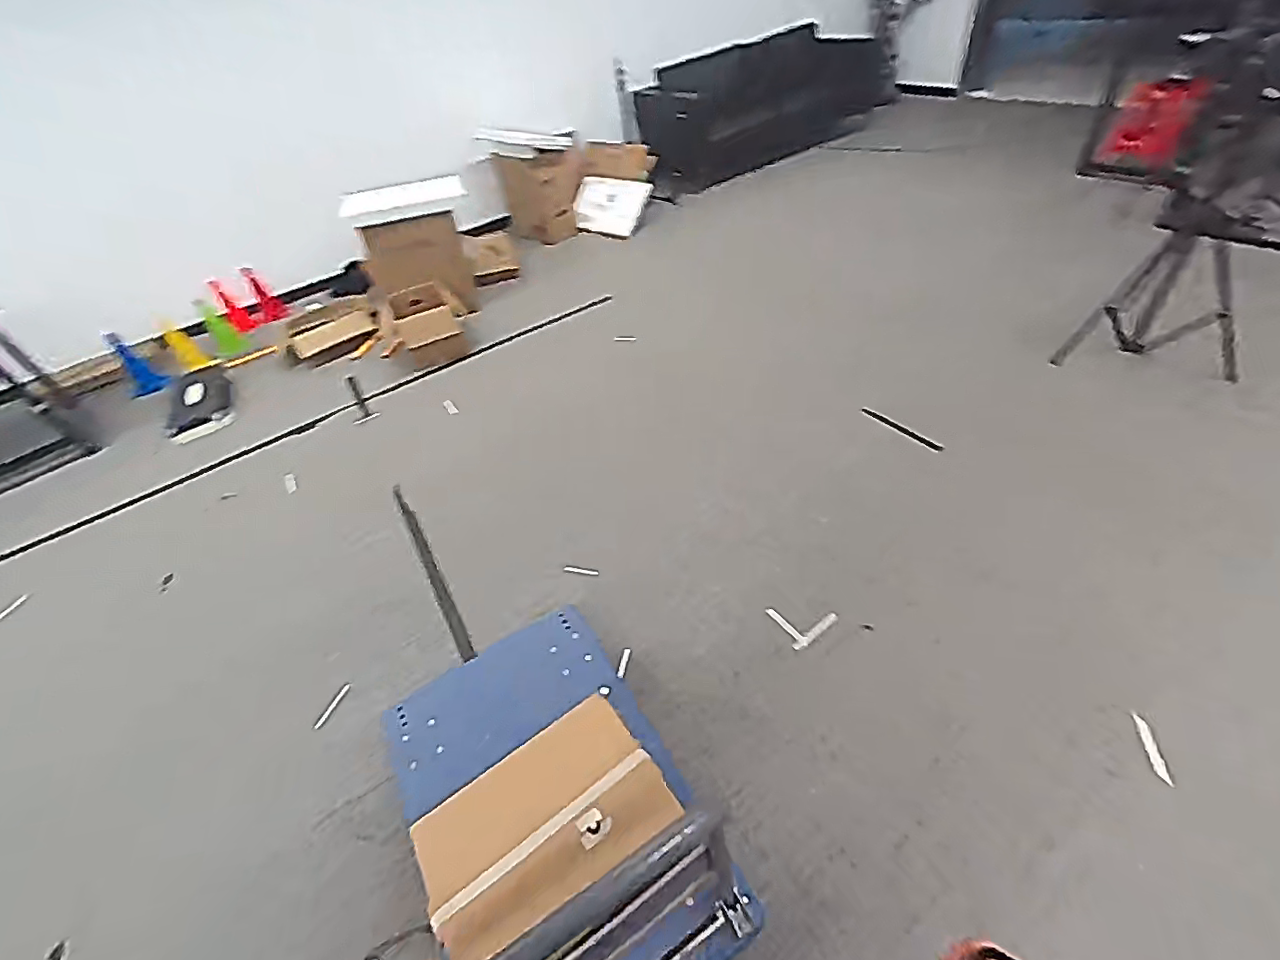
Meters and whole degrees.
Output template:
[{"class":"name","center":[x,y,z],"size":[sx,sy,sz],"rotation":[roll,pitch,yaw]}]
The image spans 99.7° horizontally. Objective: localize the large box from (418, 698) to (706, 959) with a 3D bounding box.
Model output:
[{"class":"large box","center":[-0.128,0.713,1.014],"size":[0.408,0.320,0.320],"rotation":[-30,47,-21]}]
